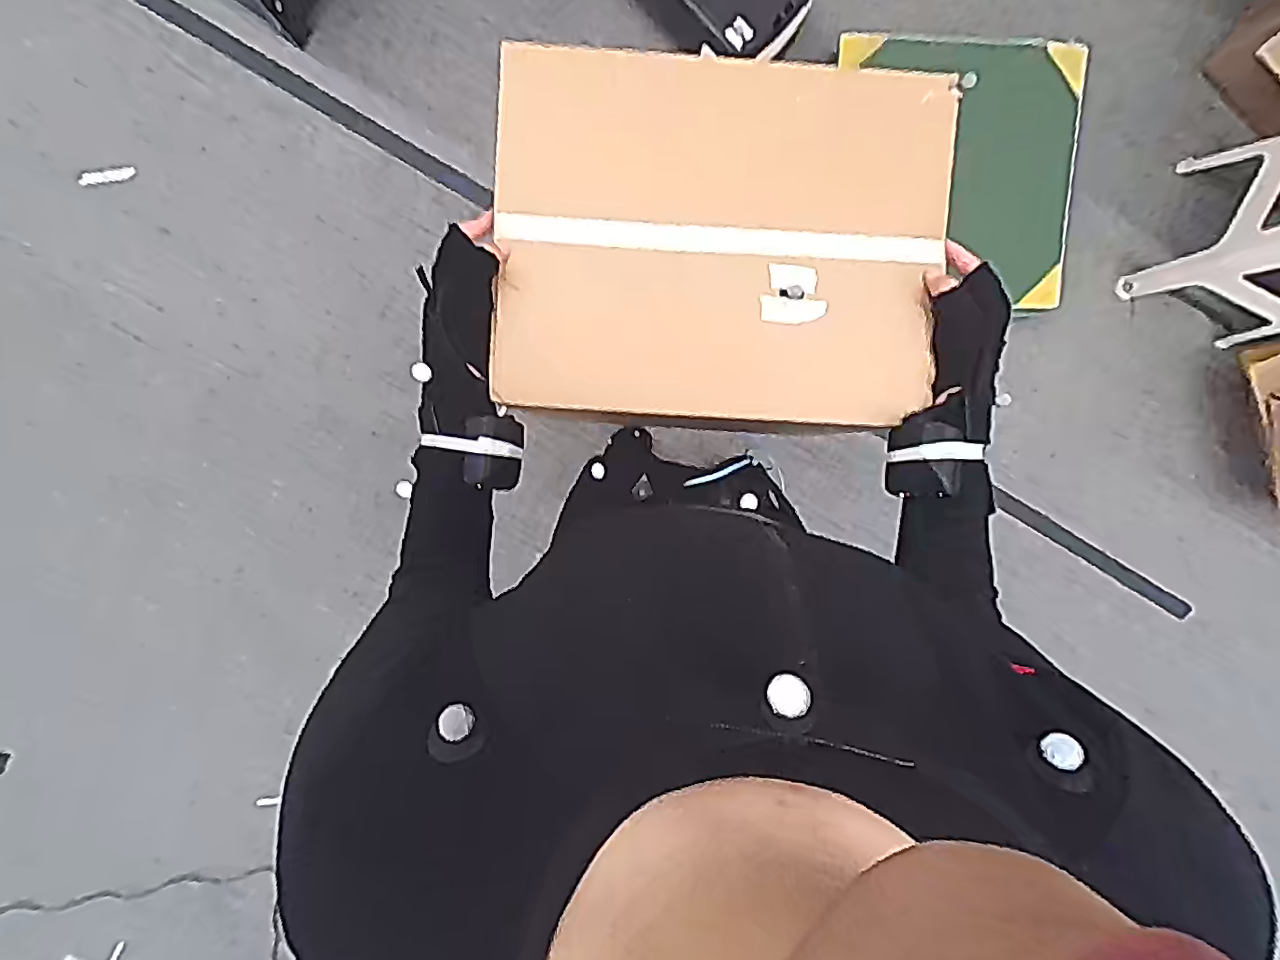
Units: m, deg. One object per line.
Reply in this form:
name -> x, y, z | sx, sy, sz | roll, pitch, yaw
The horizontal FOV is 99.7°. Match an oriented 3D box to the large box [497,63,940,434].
large box -> 0.064, -0.221, 0.645 | 0.408, 0.320, 0.320 | 4, 95, -2
